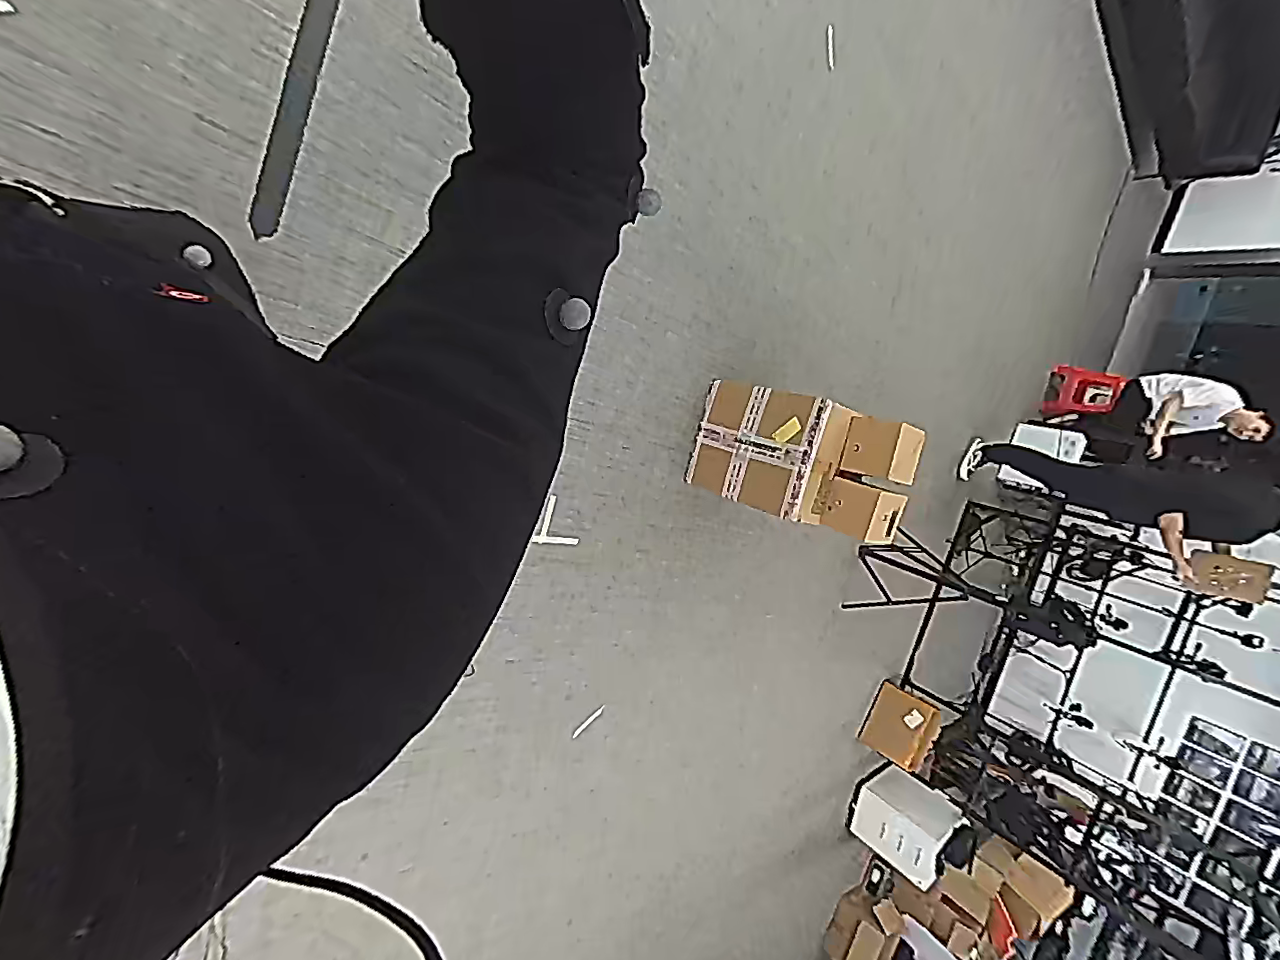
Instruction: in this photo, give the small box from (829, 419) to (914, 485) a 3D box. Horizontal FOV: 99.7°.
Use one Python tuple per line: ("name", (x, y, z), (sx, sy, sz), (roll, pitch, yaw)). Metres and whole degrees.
("small box", (0.740, -0.086, 1.725), (0.168, 0.176, 0.179), (10, 96, -41))
